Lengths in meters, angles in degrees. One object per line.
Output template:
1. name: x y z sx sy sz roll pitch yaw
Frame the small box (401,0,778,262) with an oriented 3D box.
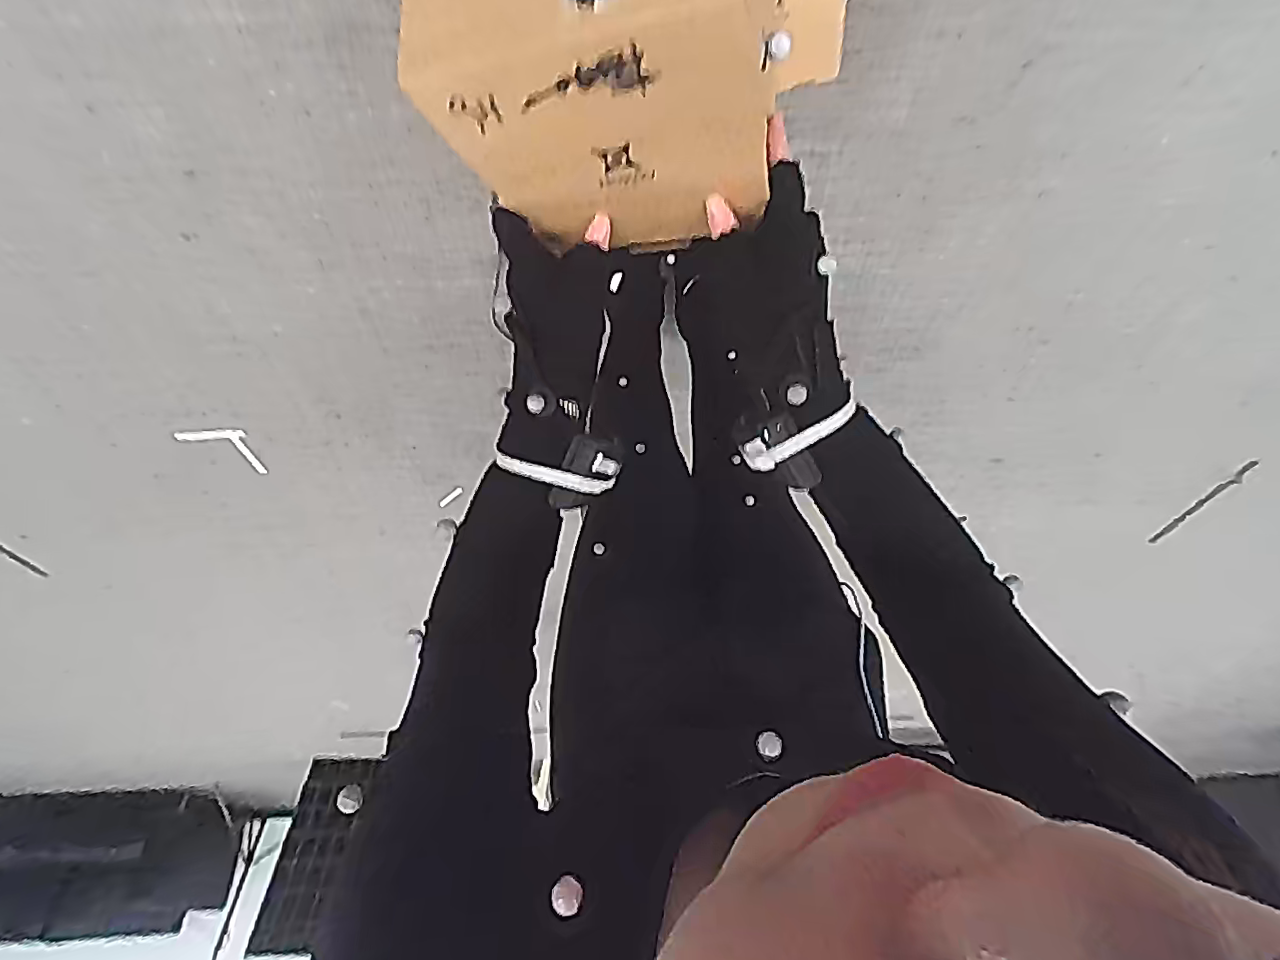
1. small box: -0.008 -0.252 0.313 0.168 0.176 0.179 0 177 17

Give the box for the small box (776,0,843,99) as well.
1. small box: 0.151 -0.605 0.684 0.168 0.176 0.179 -7 139 6
